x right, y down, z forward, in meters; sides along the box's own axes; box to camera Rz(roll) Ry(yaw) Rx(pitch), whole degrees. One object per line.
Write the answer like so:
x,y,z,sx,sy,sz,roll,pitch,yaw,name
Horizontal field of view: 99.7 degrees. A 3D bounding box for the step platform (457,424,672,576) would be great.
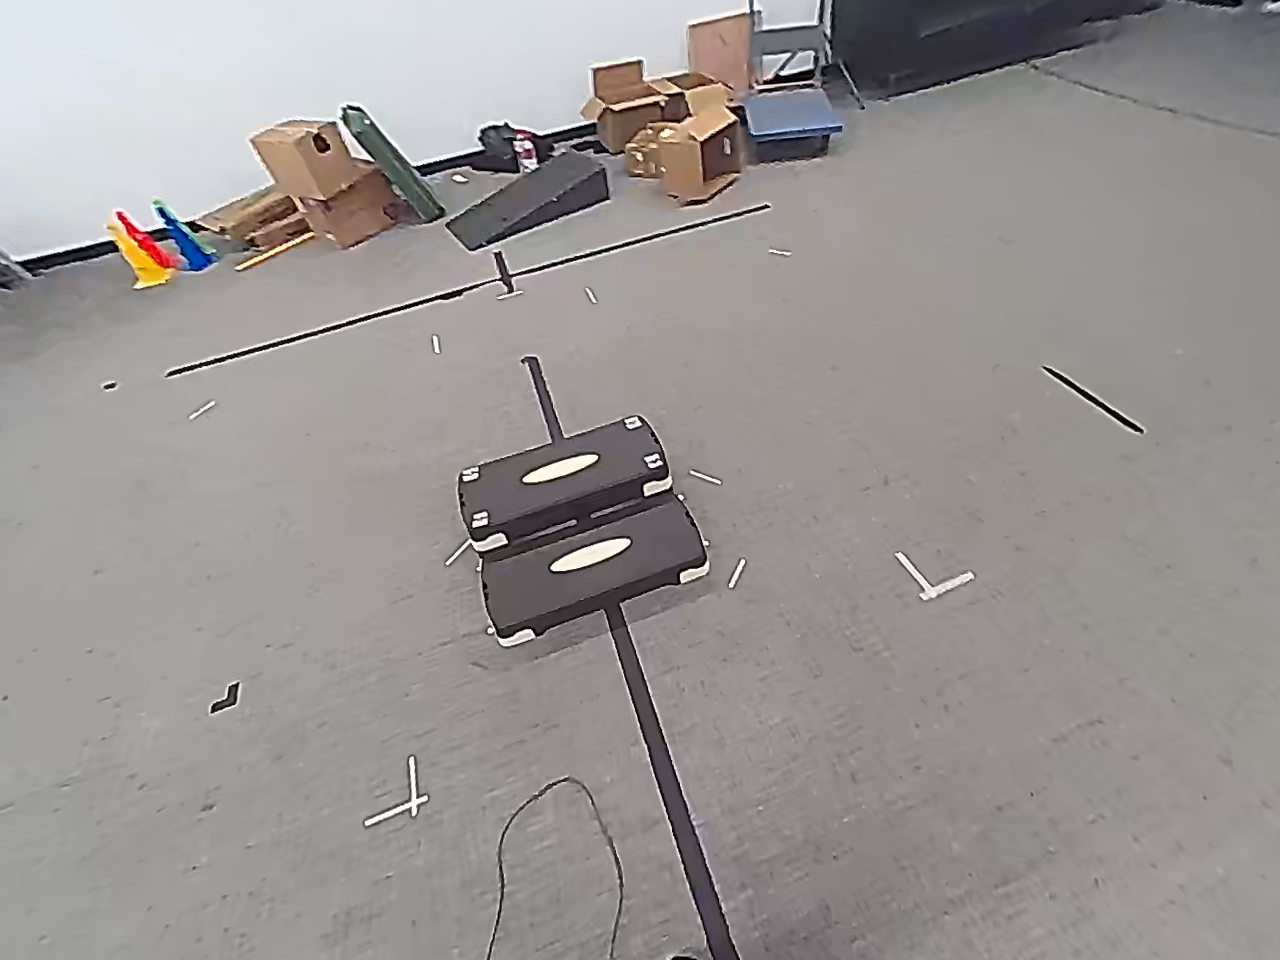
-0.246,0.053,1.783,0.684,0.204,0.286,-19,50,-9,step platform
